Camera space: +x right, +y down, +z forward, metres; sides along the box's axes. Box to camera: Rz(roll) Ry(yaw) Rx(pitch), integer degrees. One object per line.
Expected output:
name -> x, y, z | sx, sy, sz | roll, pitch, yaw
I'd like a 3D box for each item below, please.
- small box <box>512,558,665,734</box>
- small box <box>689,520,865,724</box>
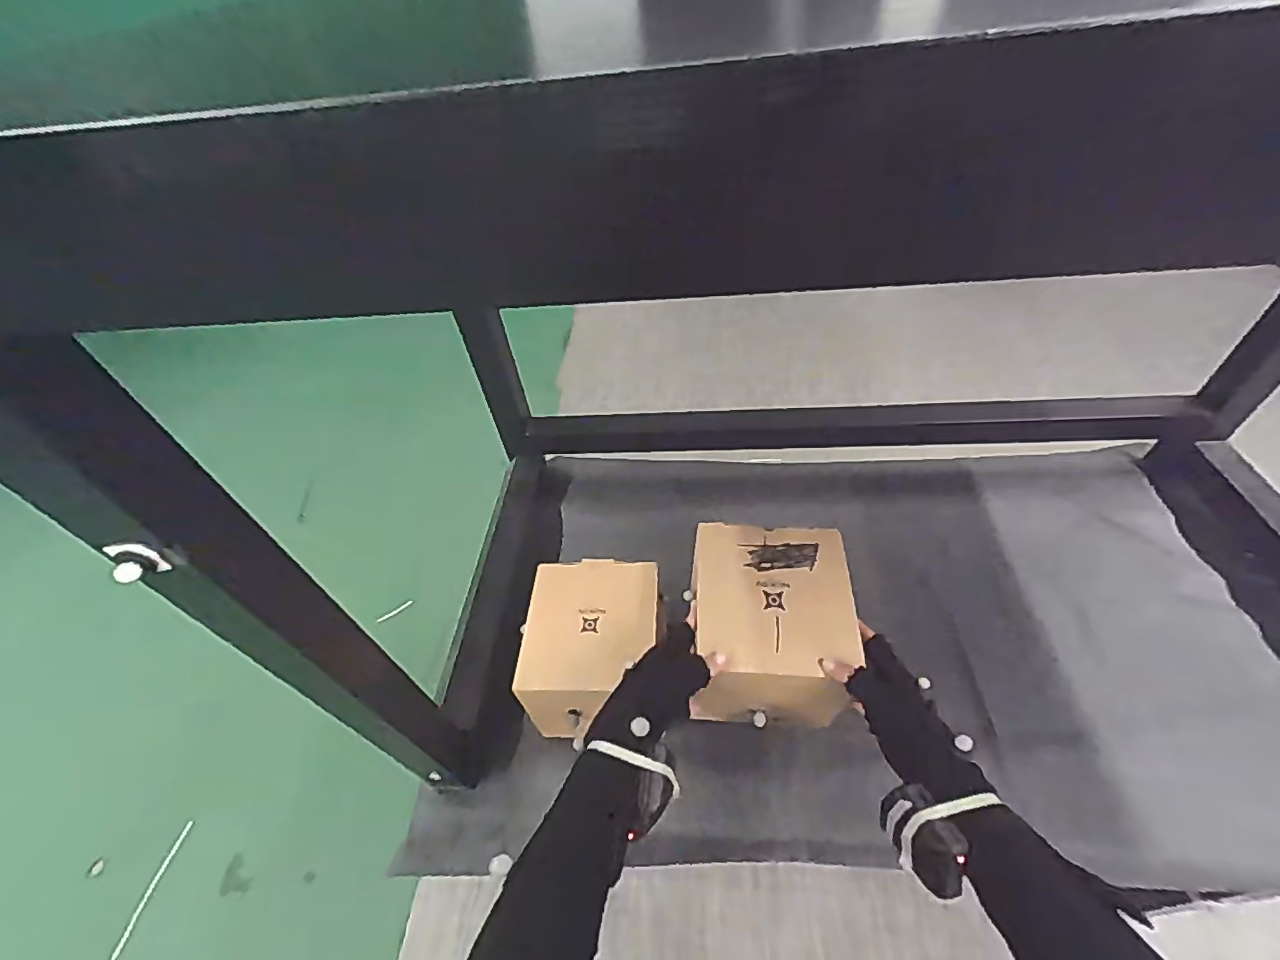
small box -> -0.054, 0.224, 0.722 | 0.168, 0.176, 0.179 | -1, 46, 6
small box -> 0.145, 0.168, 0.636 | 0.168, 0.176, 0.179 | 2, 52, 5
